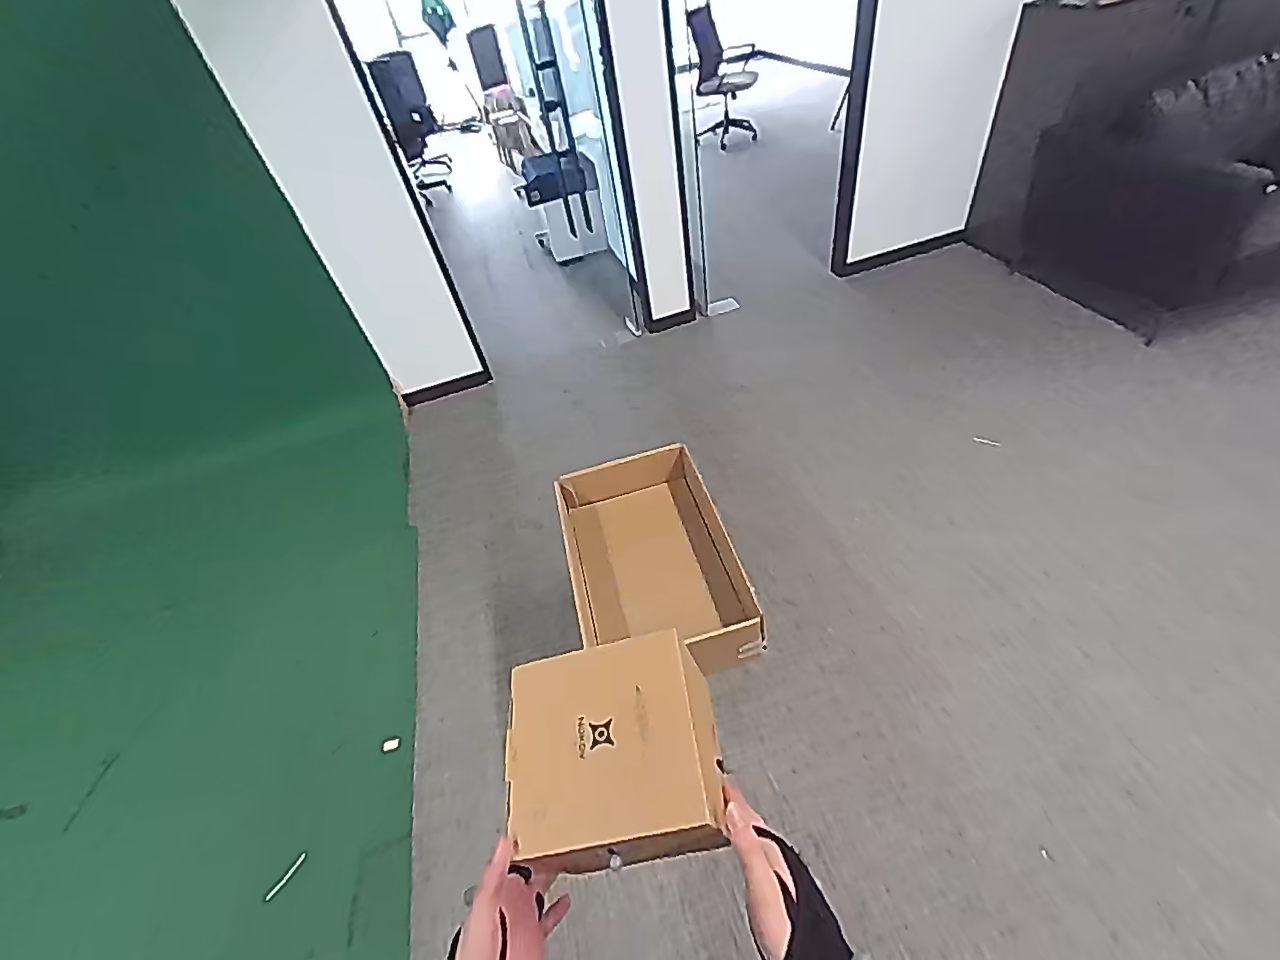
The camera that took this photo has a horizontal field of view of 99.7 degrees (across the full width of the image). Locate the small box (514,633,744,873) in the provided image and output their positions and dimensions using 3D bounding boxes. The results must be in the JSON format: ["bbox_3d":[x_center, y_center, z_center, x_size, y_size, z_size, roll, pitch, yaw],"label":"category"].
[{"bbox_3d":[-0.007,0.278,0.539,0.179,0.176,0.168,-15,49,8],"label":"small box"}]
